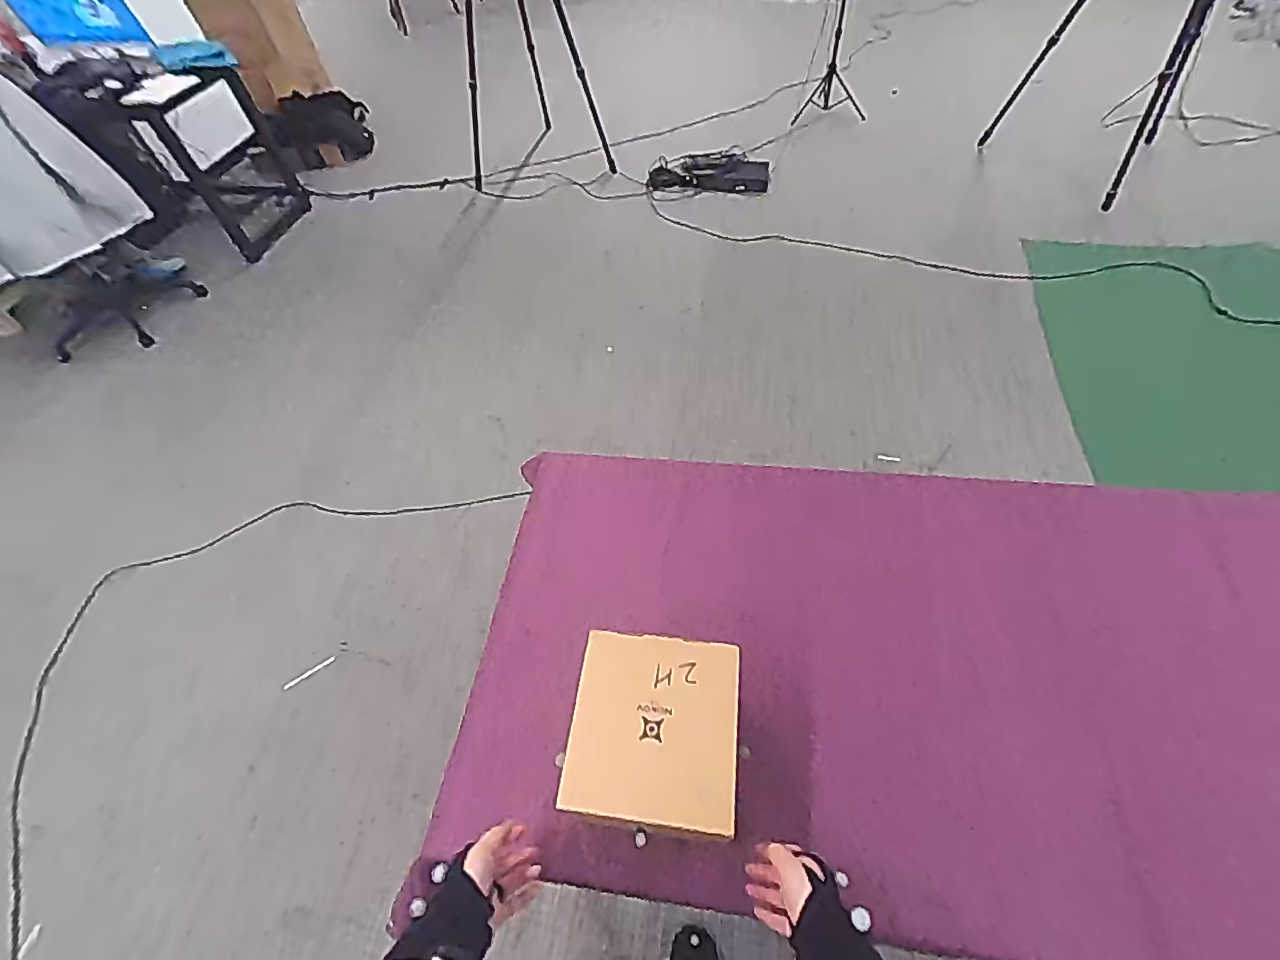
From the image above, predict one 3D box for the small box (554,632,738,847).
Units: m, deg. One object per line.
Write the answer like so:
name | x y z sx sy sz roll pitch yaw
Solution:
small box | 0.017 0.292 0.602 0.168 0.176 0.179 5 54 8
